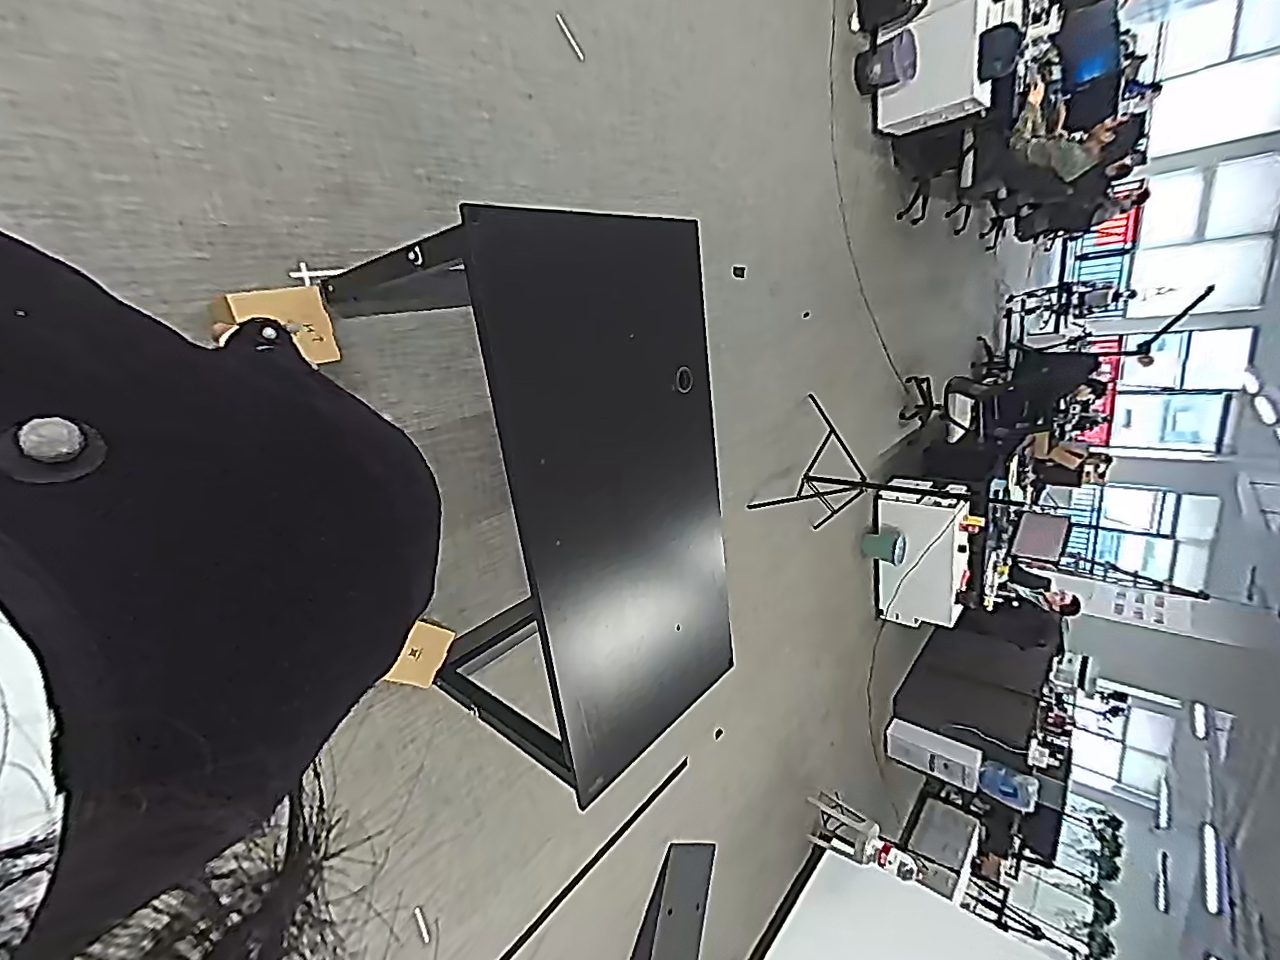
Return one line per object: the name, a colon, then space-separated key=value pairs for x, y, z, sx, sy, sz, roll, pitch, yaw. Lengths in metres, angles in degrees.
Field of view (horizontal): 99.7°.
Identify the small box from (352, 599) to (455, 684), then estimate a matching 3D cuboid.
small box: x=-0.663 y=0.448 z=1.515 sx=0.179 sy=0.176 sz=0.168 roll=37 pitch=69 yaw=-44
